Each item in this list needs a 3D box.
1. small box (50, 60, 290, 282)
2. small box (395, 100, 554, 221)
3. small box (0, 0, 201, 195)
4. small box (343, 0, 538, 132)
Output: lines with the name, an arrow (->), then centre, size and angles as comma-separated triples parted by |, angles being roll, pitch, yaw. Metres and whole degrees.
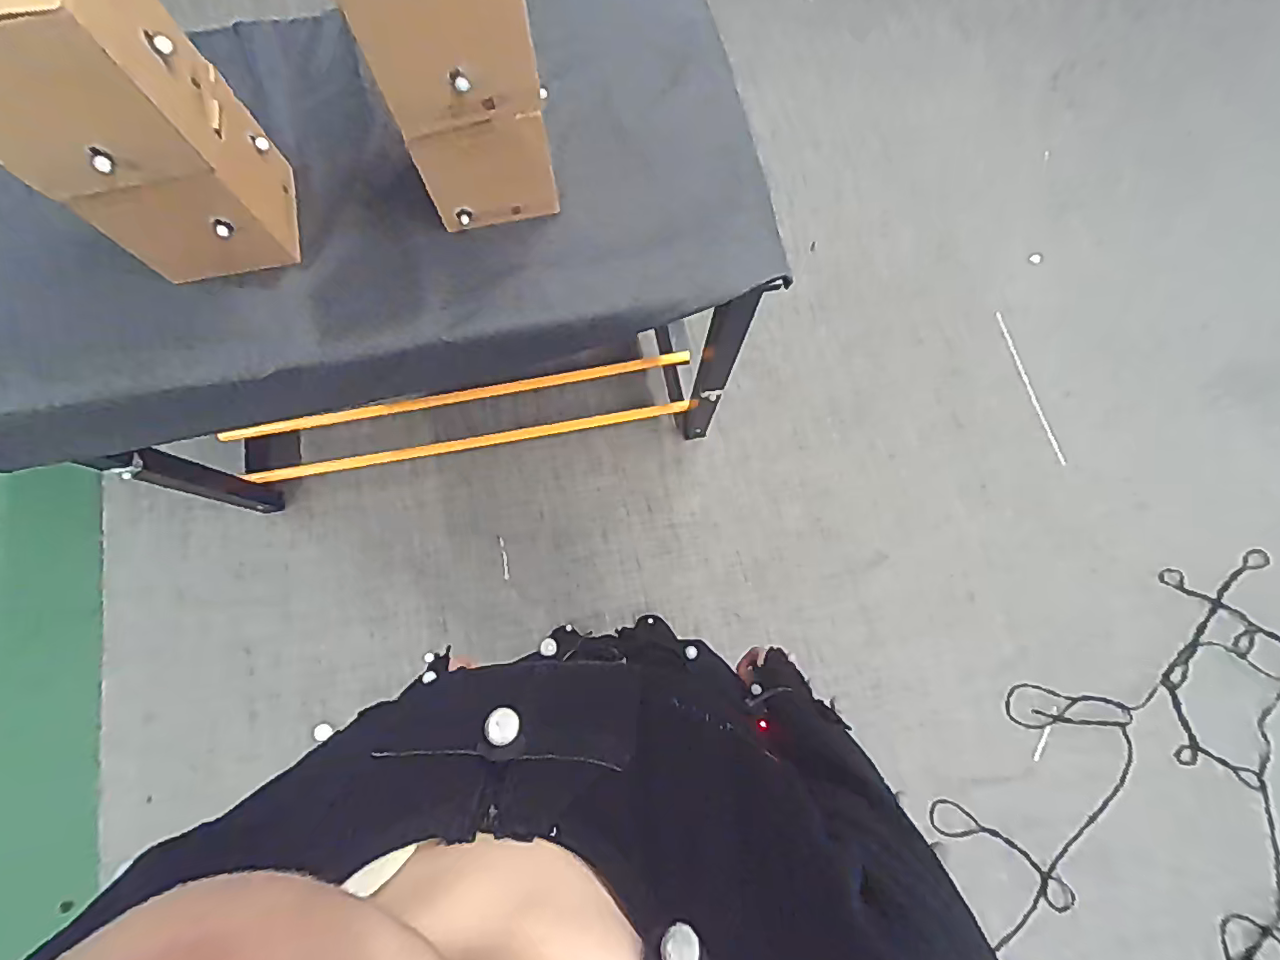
small box -> -0.578, -0.382, 0.691 | 0.179, 0.176, 0.168 | -12, 75, -4
small box -> -0.217, -0.474, 0.721 | 0.168, 0.176, 0.179 | -12, 76, -4
small box -> -0.574, -0.418, 0.530 | 0.179, 0.176, 0.168 | -15, 75, -6
small box -> -0.216, -0.512, 0.561 | 0.168, 0.176, 0.179 | -18, 77, -5
